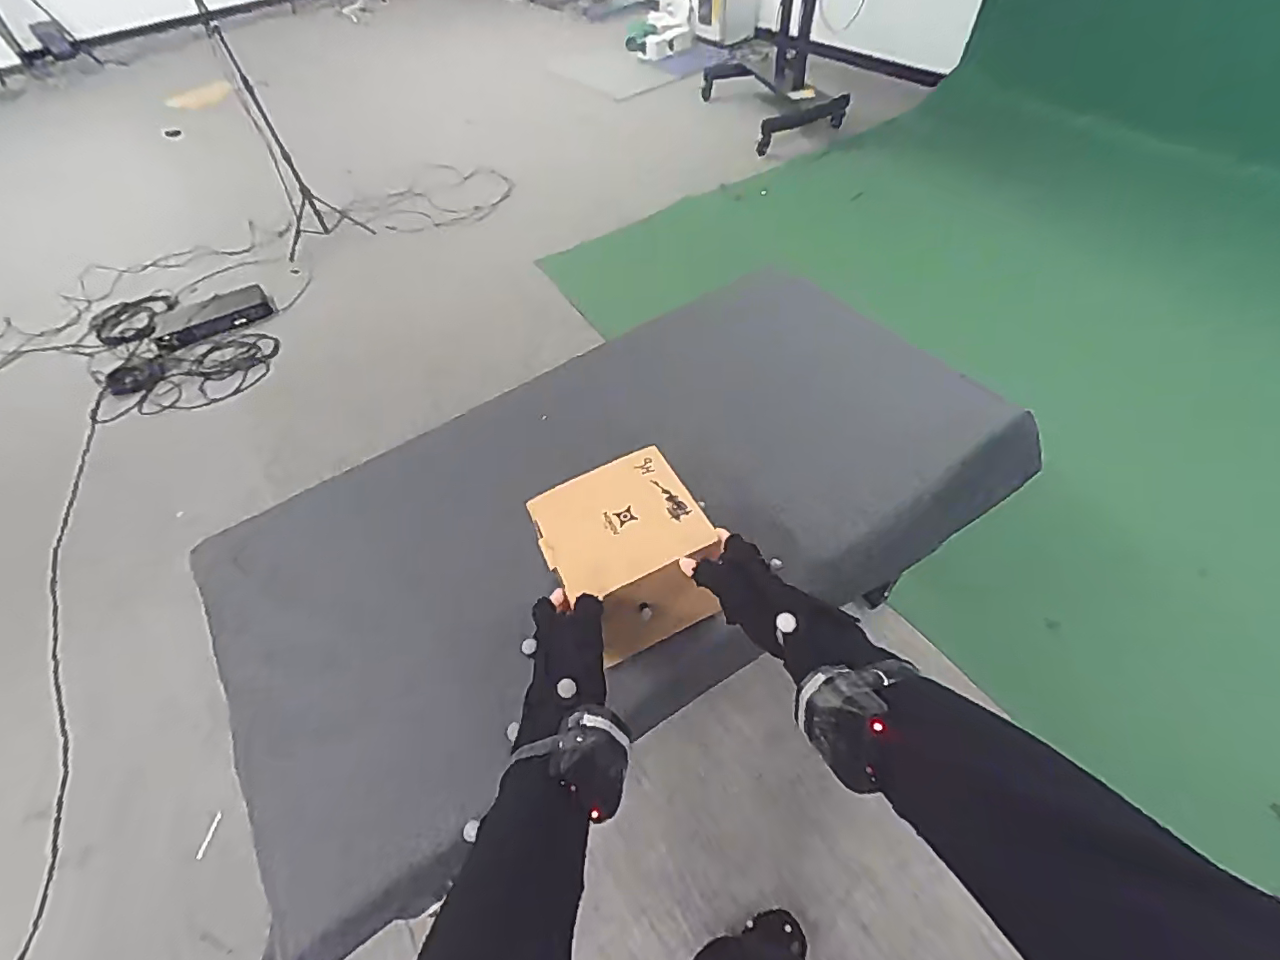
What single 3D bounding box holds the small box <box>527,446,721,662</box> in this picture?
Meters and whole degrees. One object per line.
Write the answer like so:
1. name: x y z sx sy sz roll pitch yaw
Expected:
1. small box: -0.014 0.096 0.674 0.179 0.176 0.168 -26 50 -9
